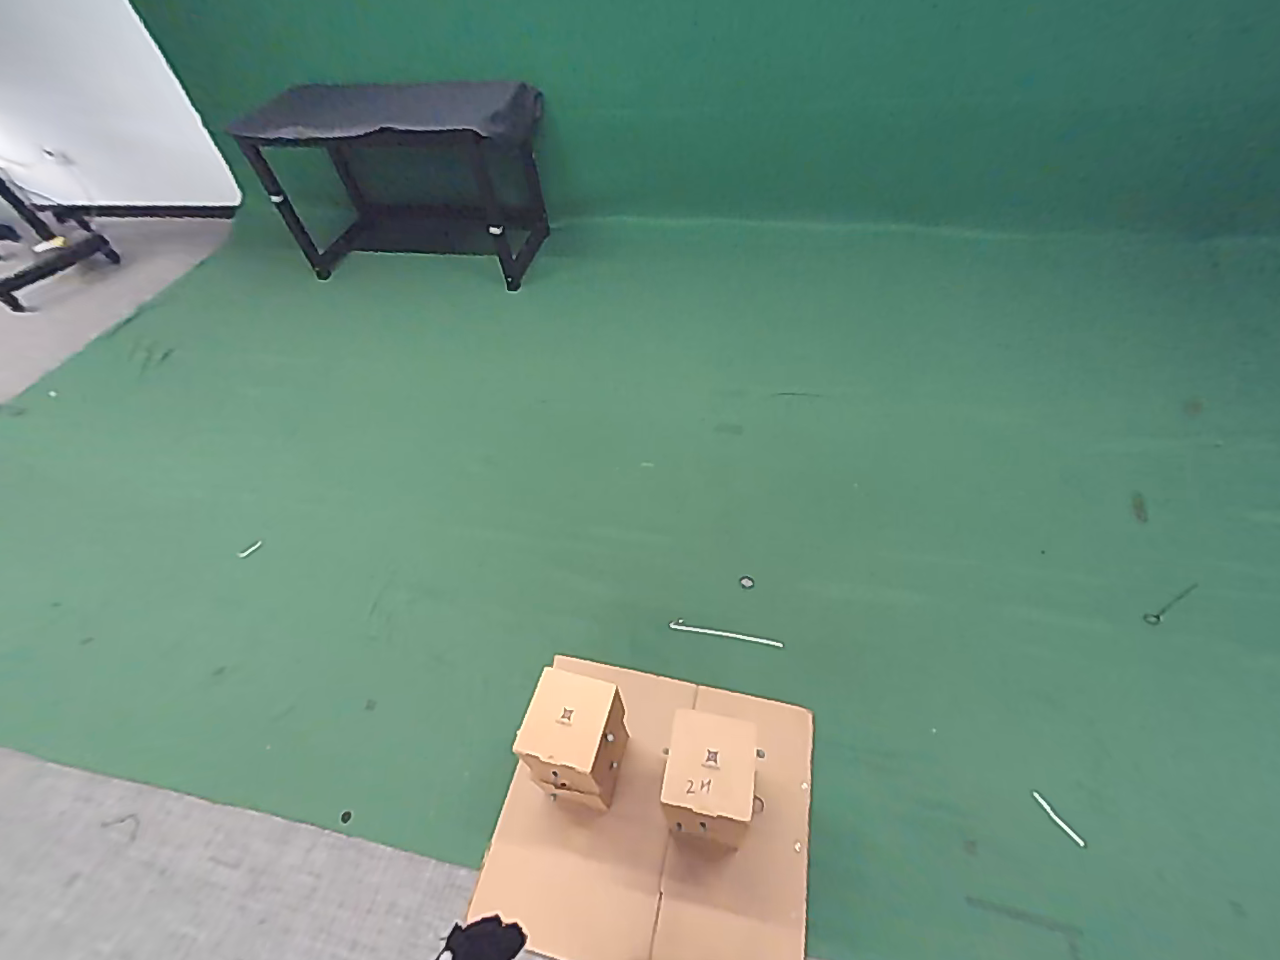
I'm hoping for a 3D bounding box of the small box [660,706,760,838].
[{"bbox_3d":[0.139,0.578,1.071,0.168,0.176,0.179,7,50,12],"label":"small box"}]

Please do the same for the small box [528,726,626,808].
[{"bbox_3d":[-0.136,0.640,1.262,0.168,0.176,0.179,8,50,14],"label":"small box"}]

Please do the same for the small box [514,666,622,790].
[{"bbox_3d":[-0.141,0.526,1.146,0.168,0.176,0.179,10,51,14],"label":"small box"}]
